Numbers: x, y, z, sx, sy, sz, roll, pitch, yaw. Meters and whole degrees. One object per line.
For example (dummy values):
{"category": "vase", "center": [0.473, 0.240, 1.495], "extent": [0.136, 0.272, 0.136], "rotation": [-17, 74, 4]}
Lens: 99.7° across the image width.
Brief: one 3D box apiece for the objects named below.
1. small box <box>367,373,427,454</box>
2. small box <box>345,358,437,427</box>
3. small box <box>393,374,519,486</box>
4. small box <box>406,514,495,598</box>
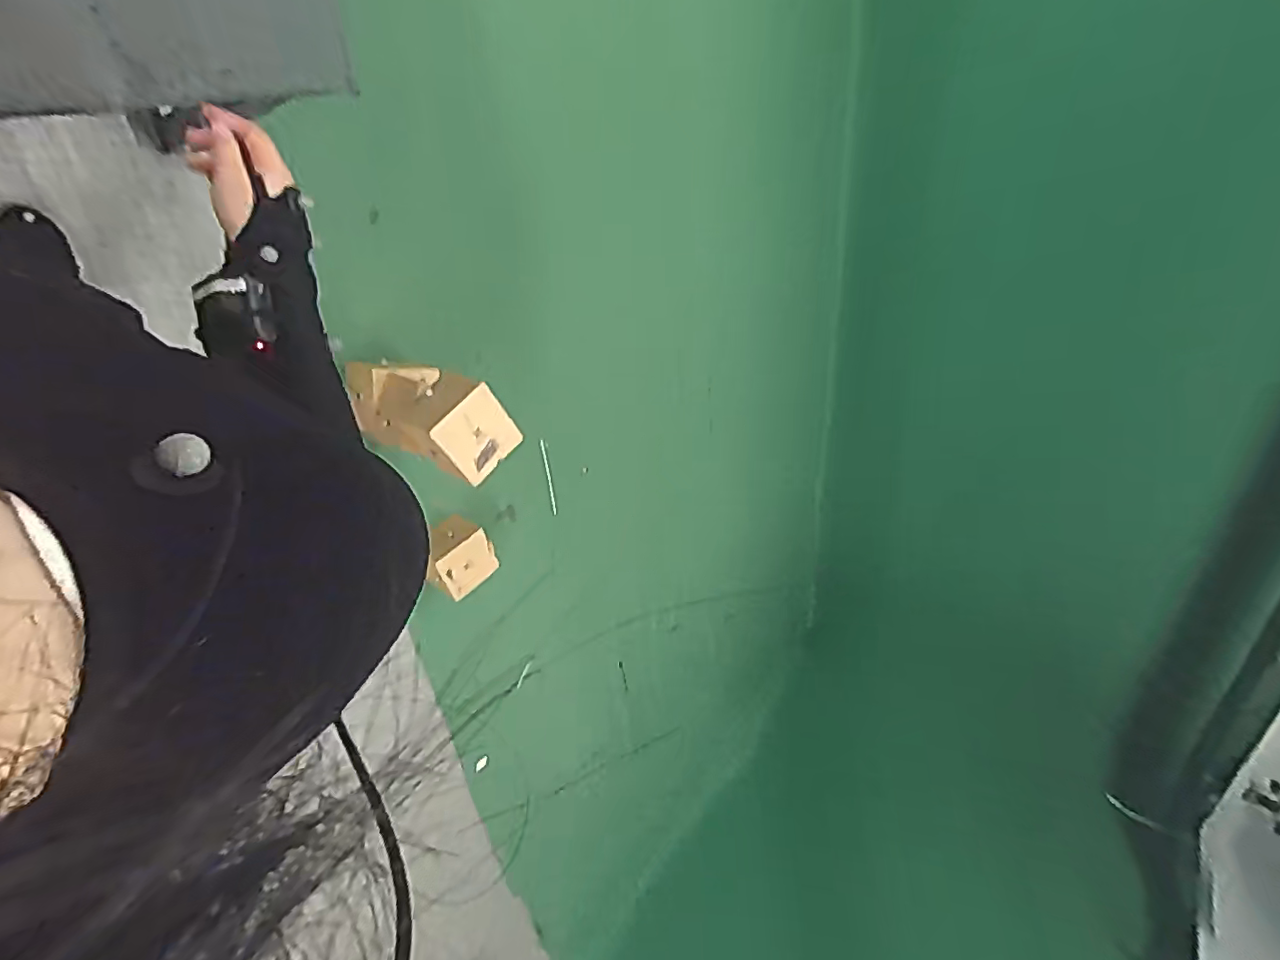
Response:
{"category": "small box", "center": [-0.540, -0.155, 1.338], "extent": [0.179, 0.176, 0.168], "rotation": [19, 91, -53]}
{"category": "small box", "center": [-0.660, -0.227, 1.426], "extent": [0.179, 0.176, 0.168], "rotation": [-12, 115, -48]}
{"category": "small box", "center": [-0.418, -0.120, 1.233], "extent": [0.168, 0.176, 0.179], "rotation": [-50, 137, -23]}
{"category": "small box", "center": [-0.595, 0.231, 1.698], "extent": [0.179, 0.176, 0.168], "rotation": [-41, 134, -34]}
